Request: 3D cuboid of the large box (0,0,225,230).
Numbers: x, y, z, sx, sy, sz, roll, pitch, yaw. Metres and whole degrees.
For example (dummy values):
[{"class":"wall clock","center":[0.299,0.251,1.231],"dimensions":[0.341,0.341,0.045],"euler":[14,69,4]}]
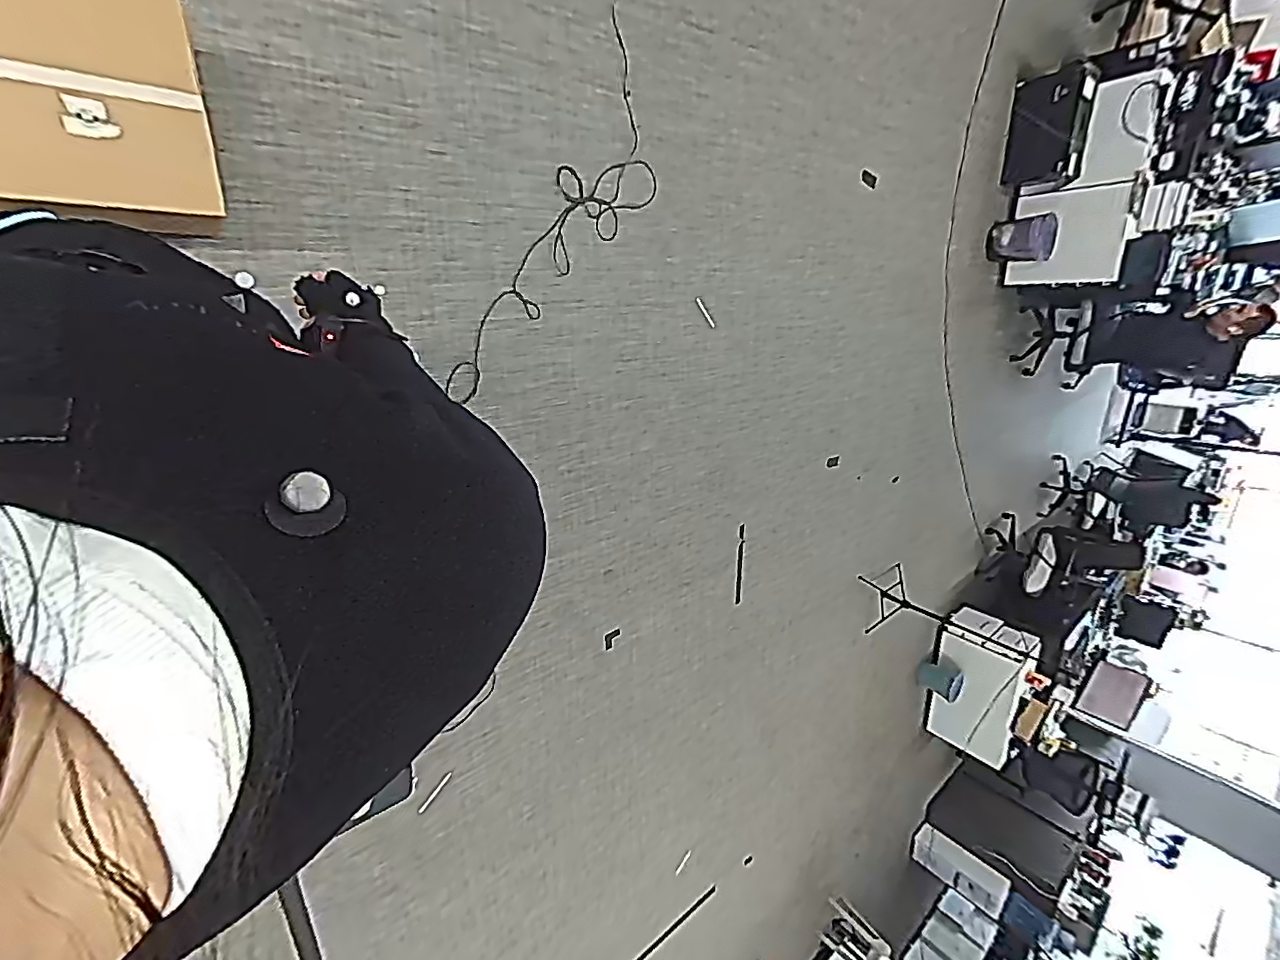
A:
[{"class":"large box","center":[-0.921,-0.575,0.818],"dimensions":[0.408,0.320,0.320],"euler":[-14,113,-38]}]
